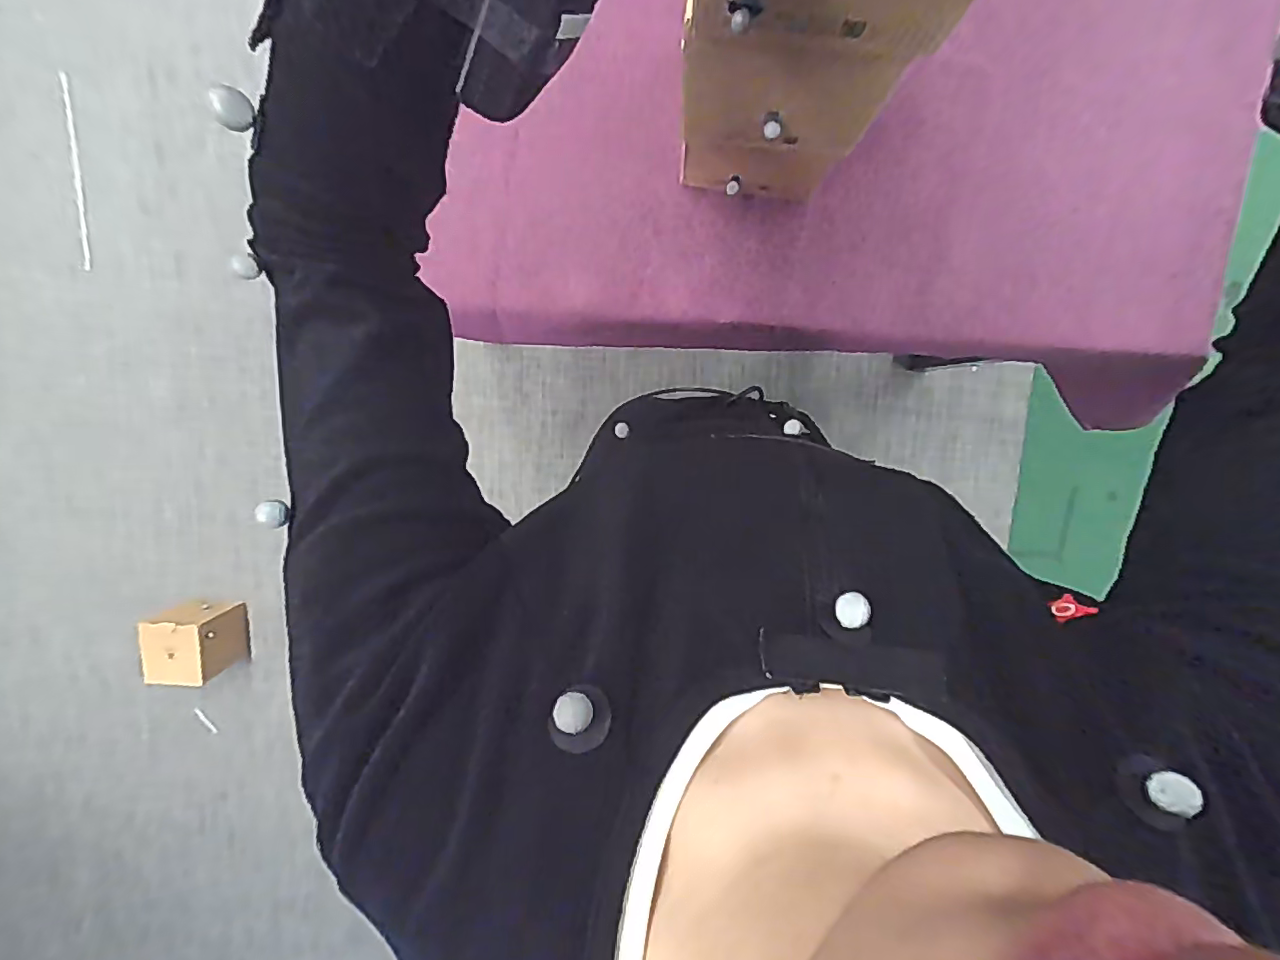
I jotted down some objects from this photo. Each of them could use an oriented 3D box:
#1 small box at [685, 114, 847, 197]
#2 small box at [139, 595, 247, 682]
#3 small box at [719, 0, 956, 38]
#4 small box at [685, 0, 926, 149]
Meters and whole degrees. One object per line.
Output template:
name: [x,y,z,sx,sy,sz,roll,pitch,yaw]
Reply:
small box: [0.142,-0.442,0.594,0.168,0.176,0.179,8,99,2]
small box: [-1.240,0.438,1.513,0.168,0.176,0.179,3,98,2]
small box: [0.122,-0.373,0.273,0.168,0.176,0.179,7,97,2]
small box: [0.128,-0.405,0.434,0.168,0.176,0.179,7,99,3]
